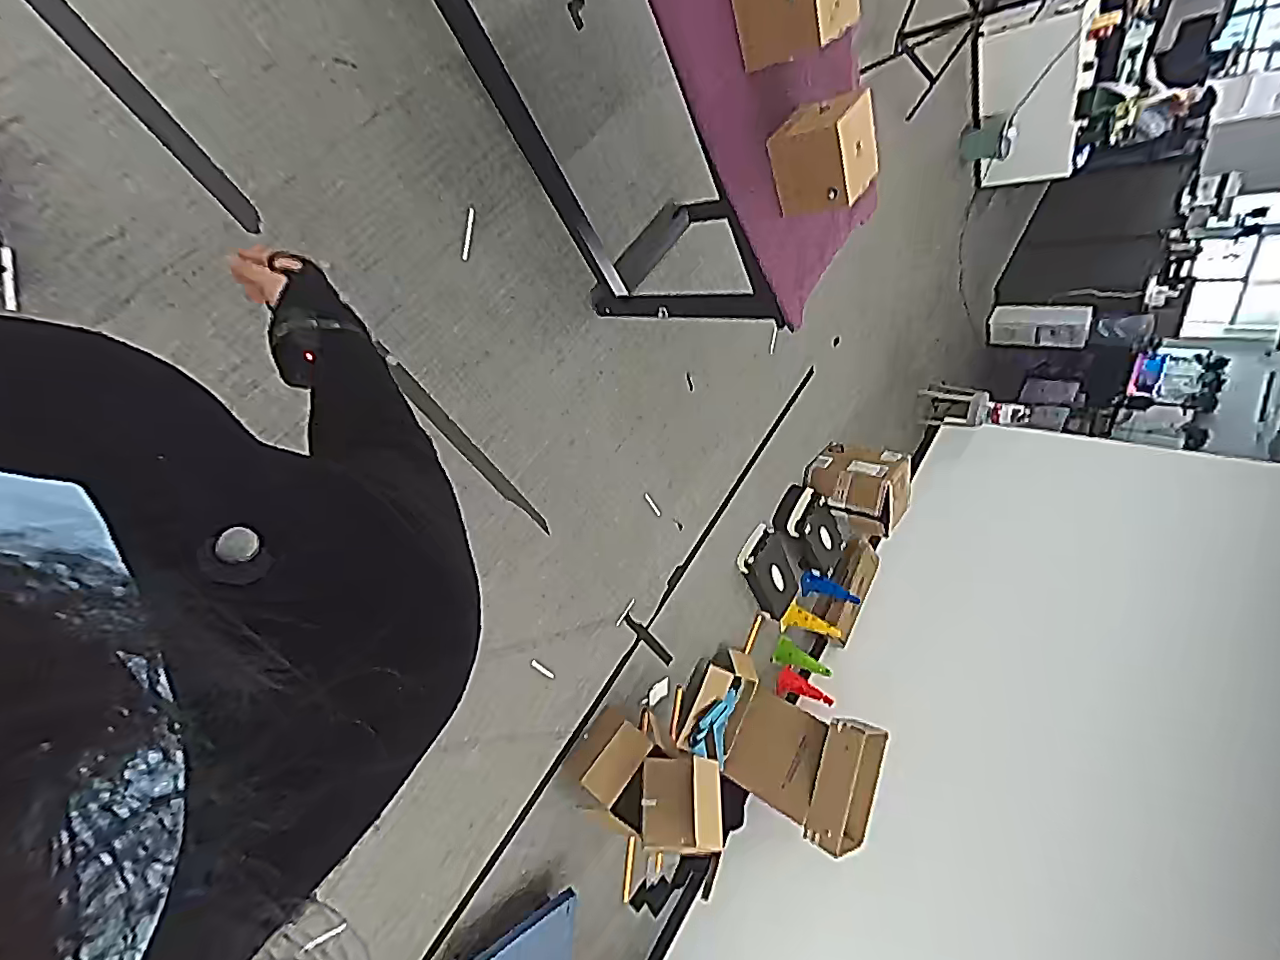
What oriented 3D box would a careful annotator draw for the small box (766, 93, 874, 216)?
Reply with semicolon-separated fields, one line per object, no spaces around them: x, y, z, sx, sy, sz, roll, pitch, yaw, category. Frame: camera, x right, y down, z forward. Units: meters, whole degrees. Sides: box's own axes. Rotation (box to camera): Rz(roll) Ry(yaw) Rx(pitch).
0.406;-0.725;1.222;0.168;0.176;0.179;-52;135;-23;small box

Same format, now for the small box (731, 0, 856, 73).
0.287;-0.919;1.026;0.168;0.176;0.179;-47;133;-25;small box
